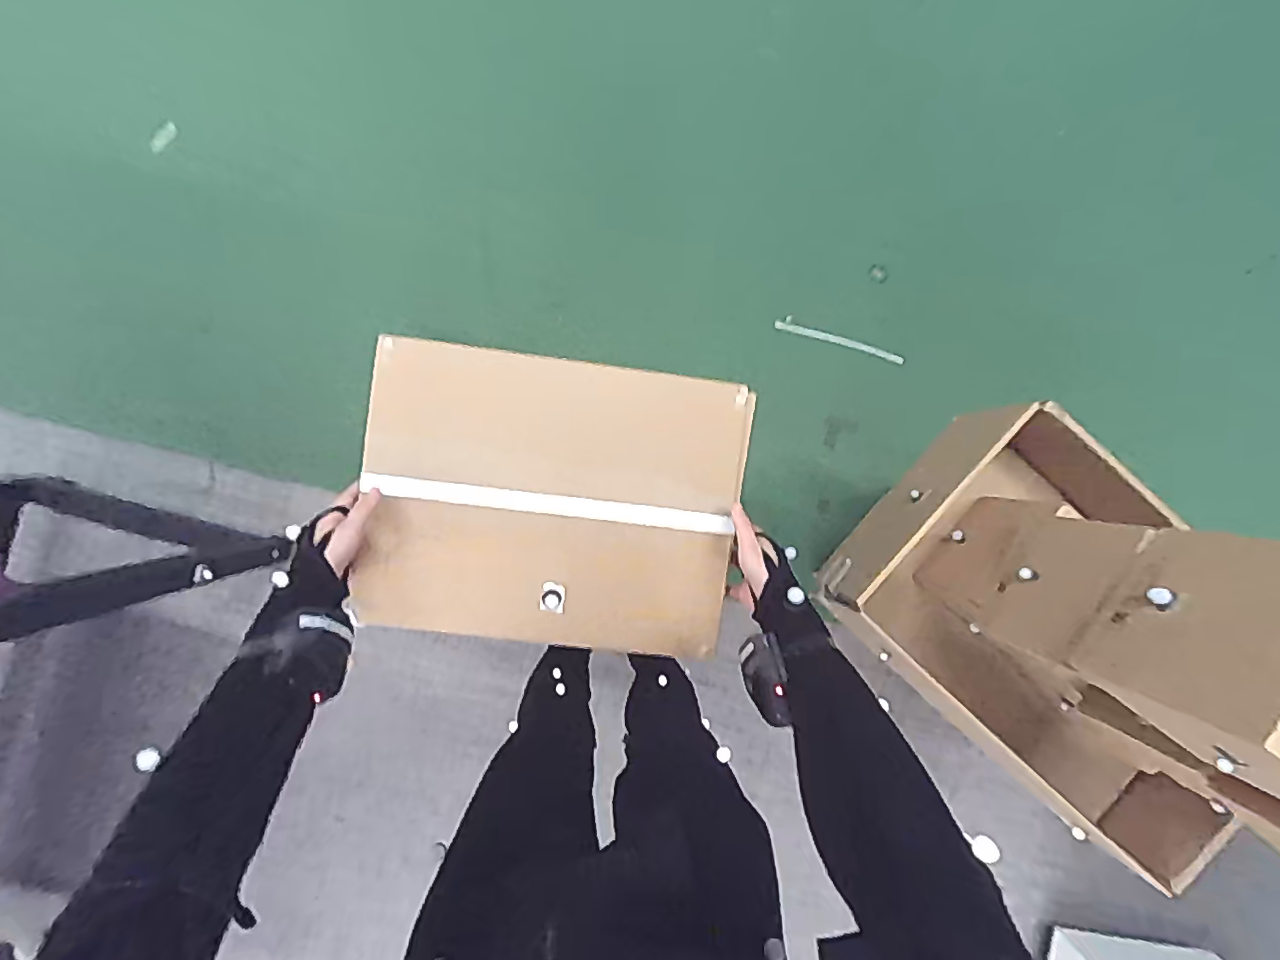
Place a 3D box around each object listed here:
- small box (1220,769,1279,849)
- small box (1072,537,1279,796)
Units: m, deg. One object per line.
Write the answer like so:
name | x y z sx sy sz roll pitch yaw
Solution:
small box | 0.689 0.305 0.464 0.179 0.176 0.168 42 90 2
small box | 0.537 0.162 0.456 0.179 0.176 0.168 35 89 -1
